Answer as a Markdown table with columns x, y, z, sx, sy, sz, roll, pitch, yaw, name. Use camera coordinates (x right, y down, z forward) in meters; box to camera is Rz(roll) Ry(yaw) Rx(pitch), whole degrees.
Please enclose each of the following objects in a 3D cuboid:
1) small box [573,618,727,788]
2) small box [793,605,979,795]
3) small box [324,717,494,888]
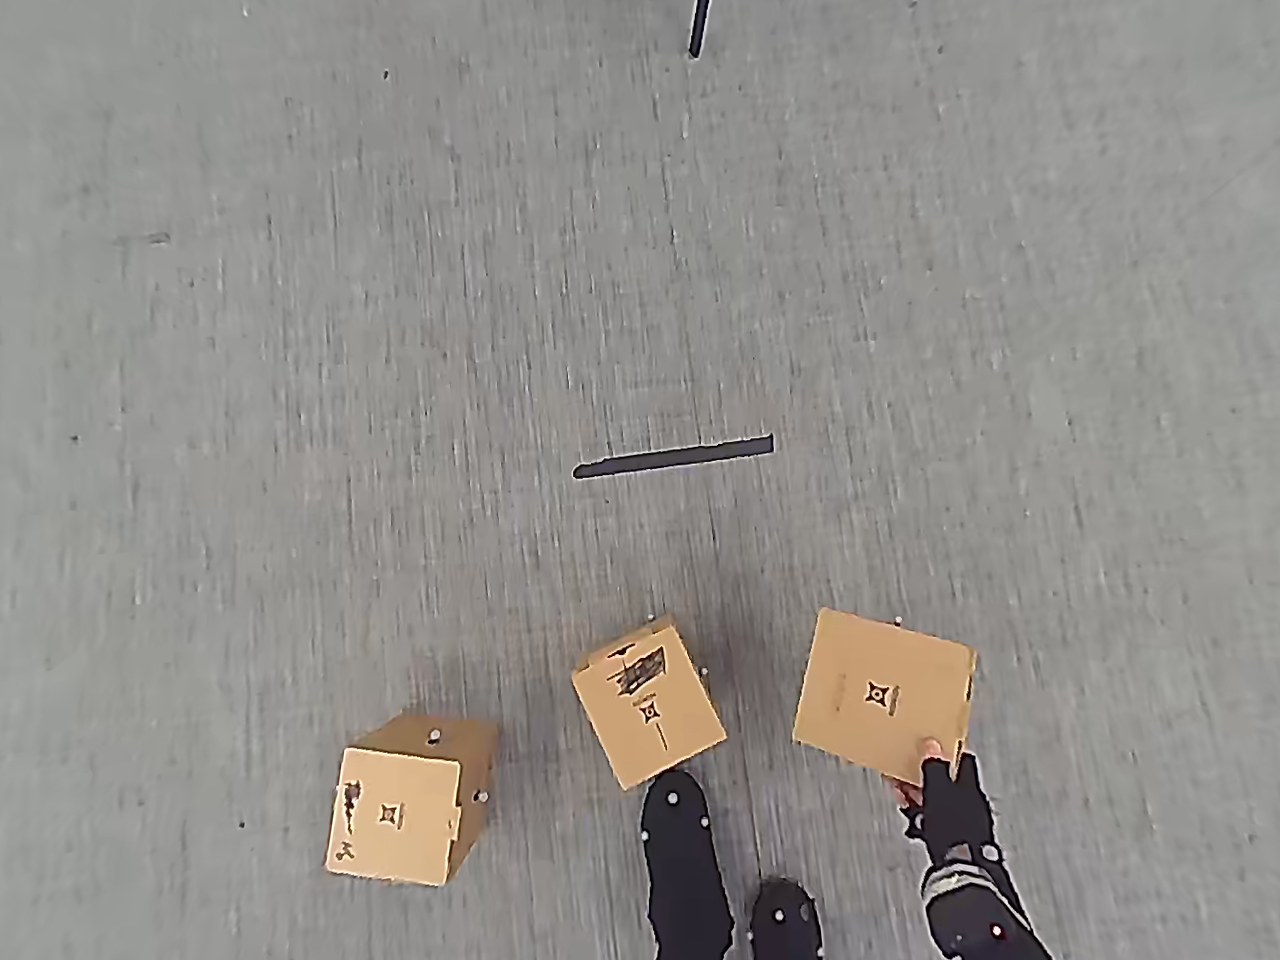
| x | y | z | sx | sy | sz | roll | pitch | yaw | name |
| --- | --- | --- | --- | --- | --- | --- | --- | --- | --- |
| 0.013 | 0.327 | 0.836 | 0.168 | 0.176 | 0.179 | -26 | 82 | -2 | small box |
| 0.311 | 0.267 | 0.695 | 0.179 | 0.176 | 0.168 | 10 | 78 | 26 | small box |
| -0.337 | 0.477 | 0.826 | 0.179 | 0.176 | 0.168 | 6 | 82 | 2 | small box |
